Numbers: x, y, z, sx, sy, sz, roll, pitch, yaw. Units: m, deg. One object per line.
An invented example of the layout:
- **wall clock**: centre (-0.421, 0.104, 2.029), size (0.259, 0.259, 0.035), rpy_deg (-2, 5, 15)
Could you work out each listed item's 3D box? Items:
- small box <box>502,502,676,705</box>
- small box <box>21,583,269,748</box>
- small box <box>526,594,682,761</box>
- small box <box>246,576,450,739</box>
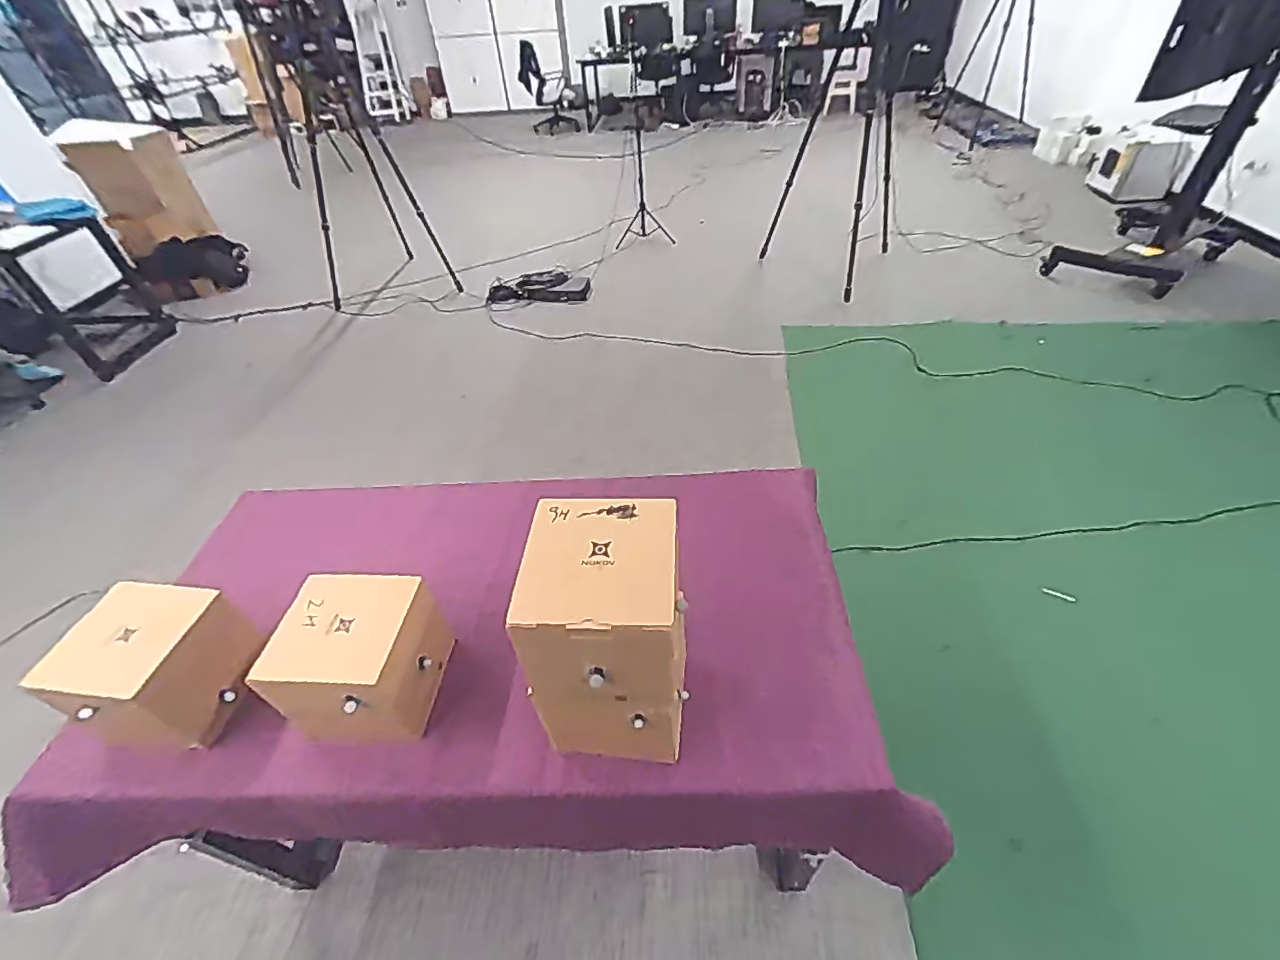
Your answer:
- **small box**: centre (-0.043, 0.145, 0.632), size (0.168, 0.176, 0.179), rpy_deg (1, 44, 5)
- **small box**: centre (-0.700, 0.273, 0.795), size (0.179, 0.176, 0.168), rpy_deg (4, 44, 8)
- **small box**: centre (-0.036, 0.265, 0.744), size (0.179, 0.176, 0.168), rpy_deg (3, 43, 8)
- **small box**: centre (-0.400, 0.258, 0.782), size (0.179, 0.176, 0.168), rpy_deg (0, 42, 5)
